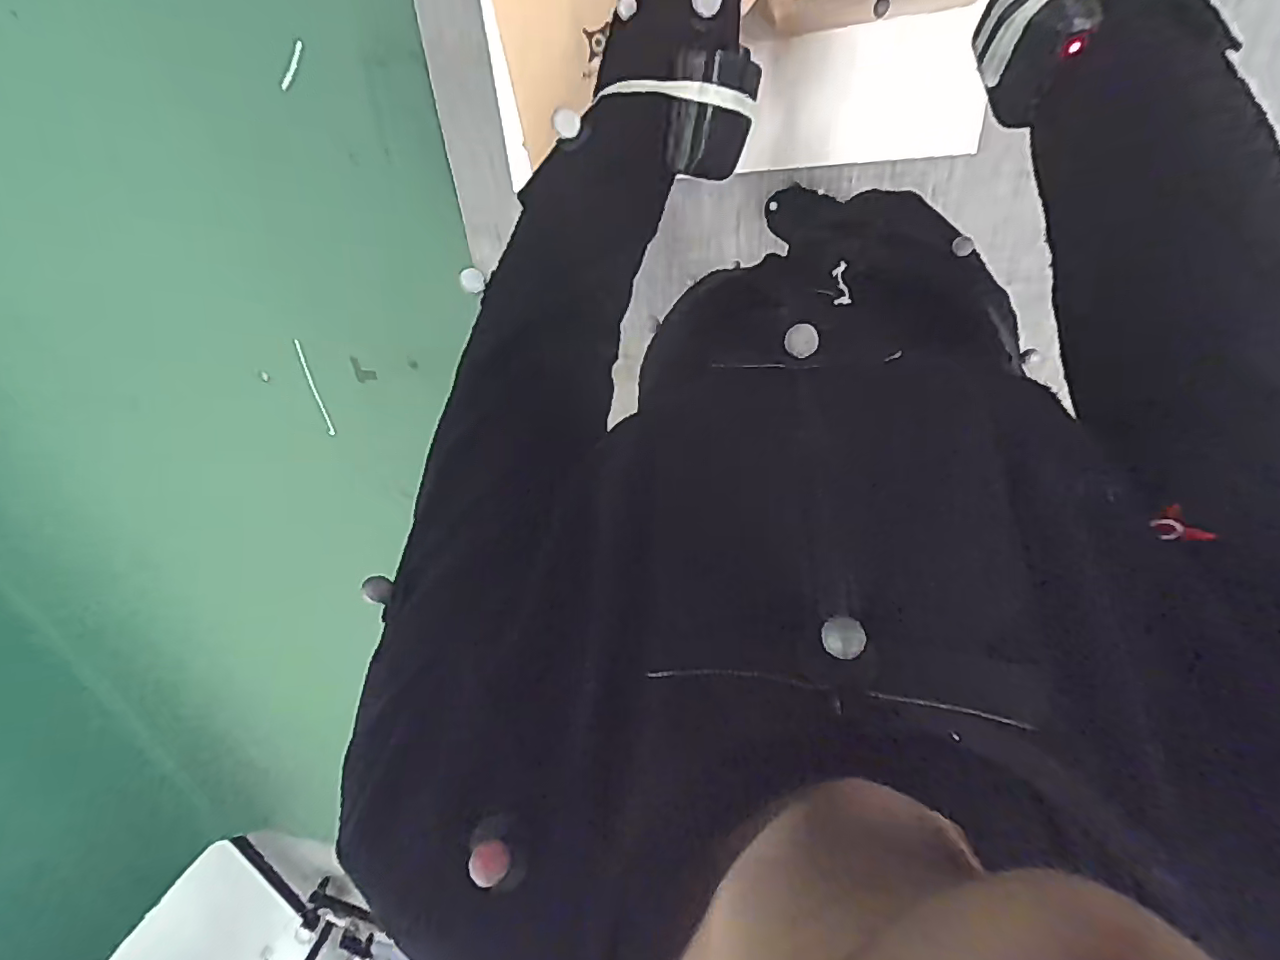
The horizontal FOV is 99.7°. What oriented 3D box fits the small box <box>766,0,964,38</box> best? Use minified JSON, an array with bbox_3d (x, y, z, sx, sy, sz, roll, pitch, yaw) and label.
[{"bbox_3d":[0.187,-0.455,0.401,0.179,0.176,0.168,2,122,15],"label":"small box"}]
